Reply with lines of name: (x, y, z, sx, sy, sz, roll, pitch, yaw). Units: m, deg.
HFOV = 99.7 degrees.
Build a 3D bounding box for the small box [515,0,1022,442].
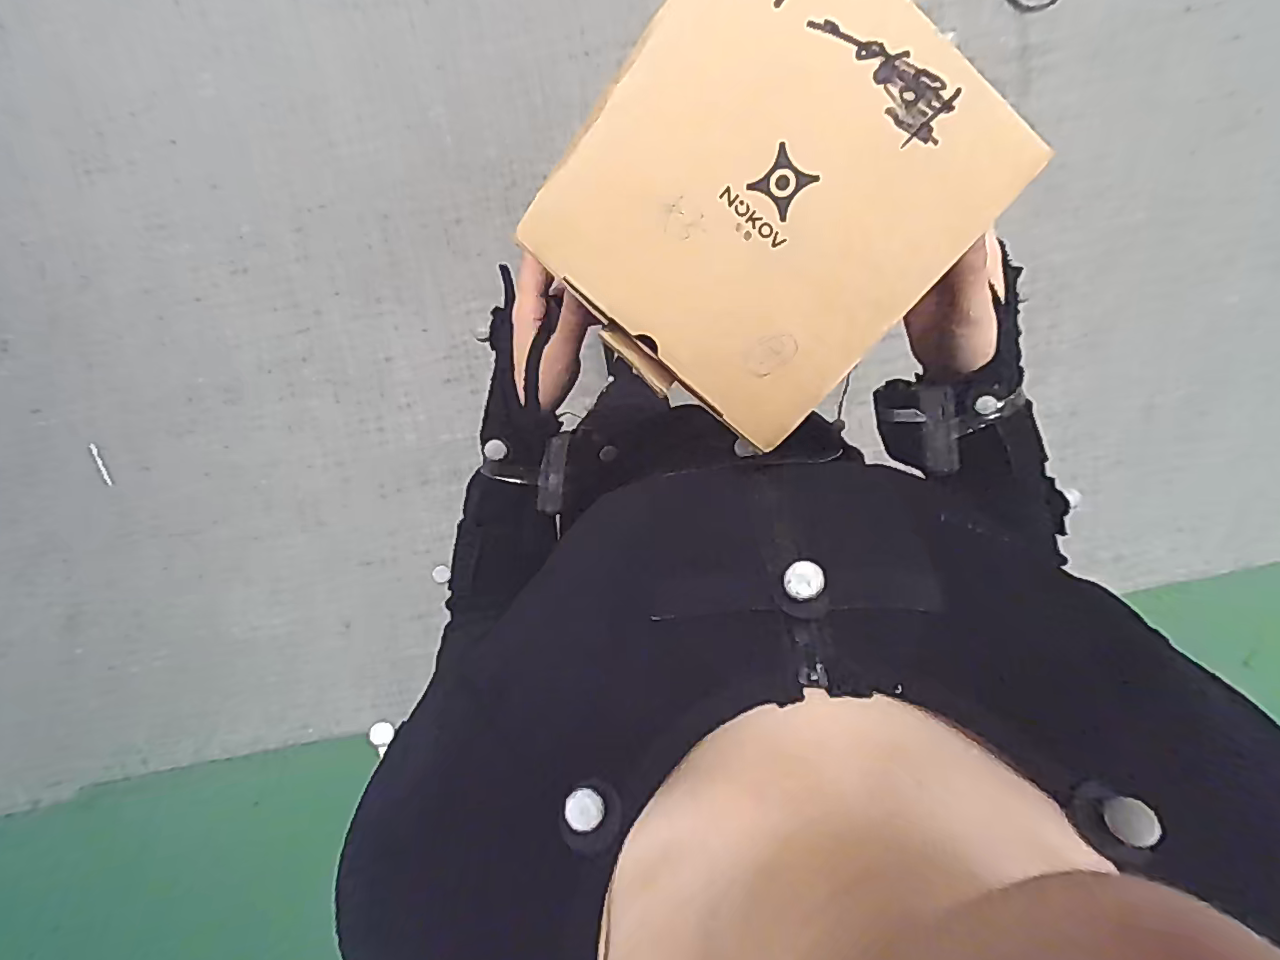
small box: (0.061, -0.154, 0.325, 0.168, 0.176, 0.179, 39, 108, -8)
